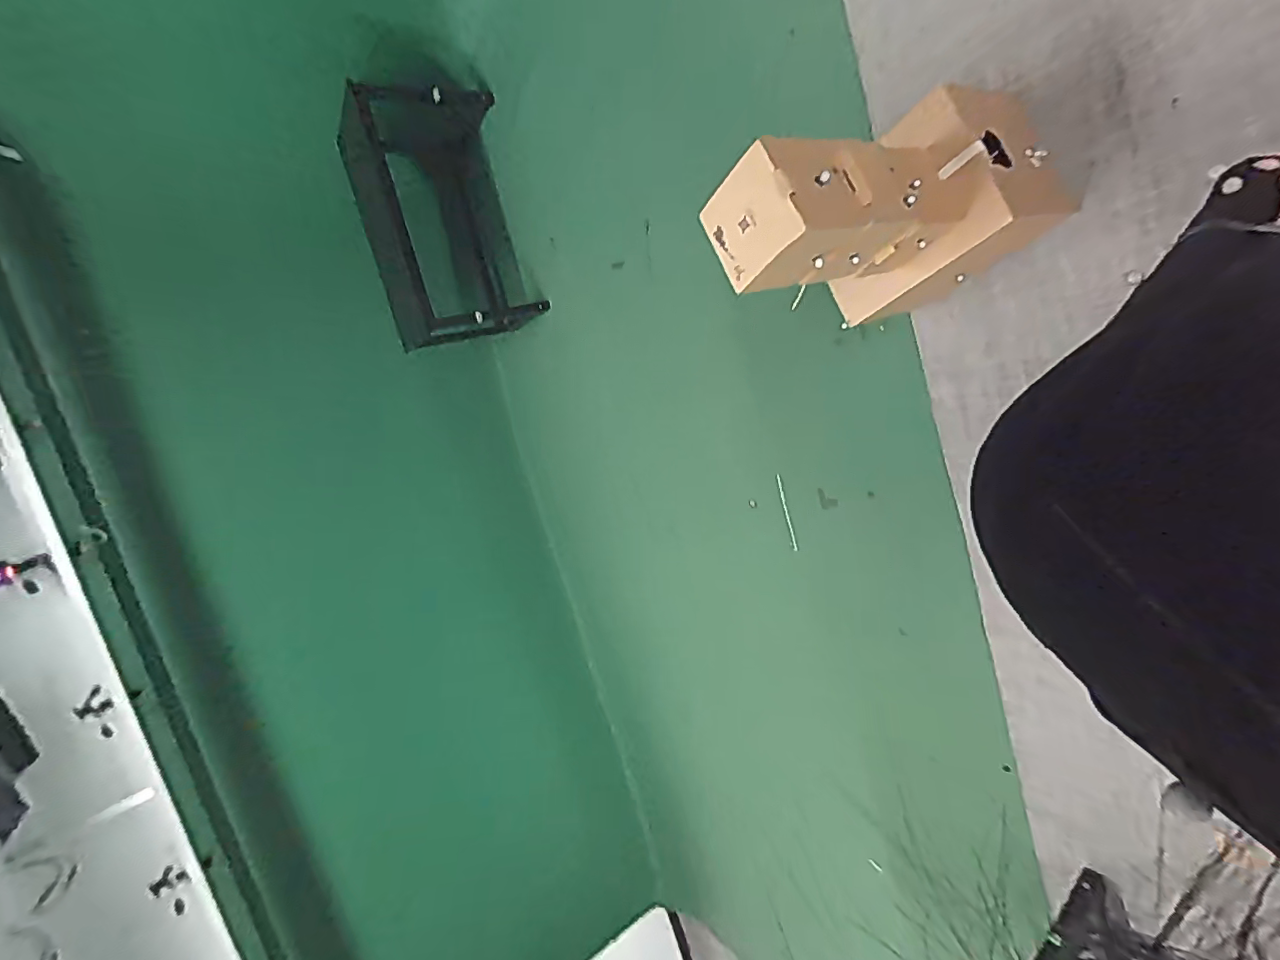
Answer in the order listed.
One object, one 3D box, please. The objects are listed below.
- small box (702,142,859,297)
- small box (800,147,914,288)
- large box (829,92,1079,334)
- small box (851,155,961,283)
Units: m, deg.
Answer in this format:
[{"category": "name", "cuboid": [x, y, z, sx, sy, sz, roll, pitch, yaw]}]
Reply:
[{"category": "small box", "cuboid": [0.246, -0.443, 0.929, 0.179, 0.176, 0.168, -32, 79, 57]}, {"category": "small box", "cuboid": [0.380, -0.489, 1.013, 0.179, 0.176, 0.168, -34, 78, 58]}, {"category": "large box", "cuboid": [0.682, -0.602, 1.266, 0.408, 0.320, 0.320, -34, 77, 59]}, {"category": "small box", "cuboid": [0.510, -0.532, 1.102, 0.168, 0.176, 0.179, -32, 80, 58]}]
